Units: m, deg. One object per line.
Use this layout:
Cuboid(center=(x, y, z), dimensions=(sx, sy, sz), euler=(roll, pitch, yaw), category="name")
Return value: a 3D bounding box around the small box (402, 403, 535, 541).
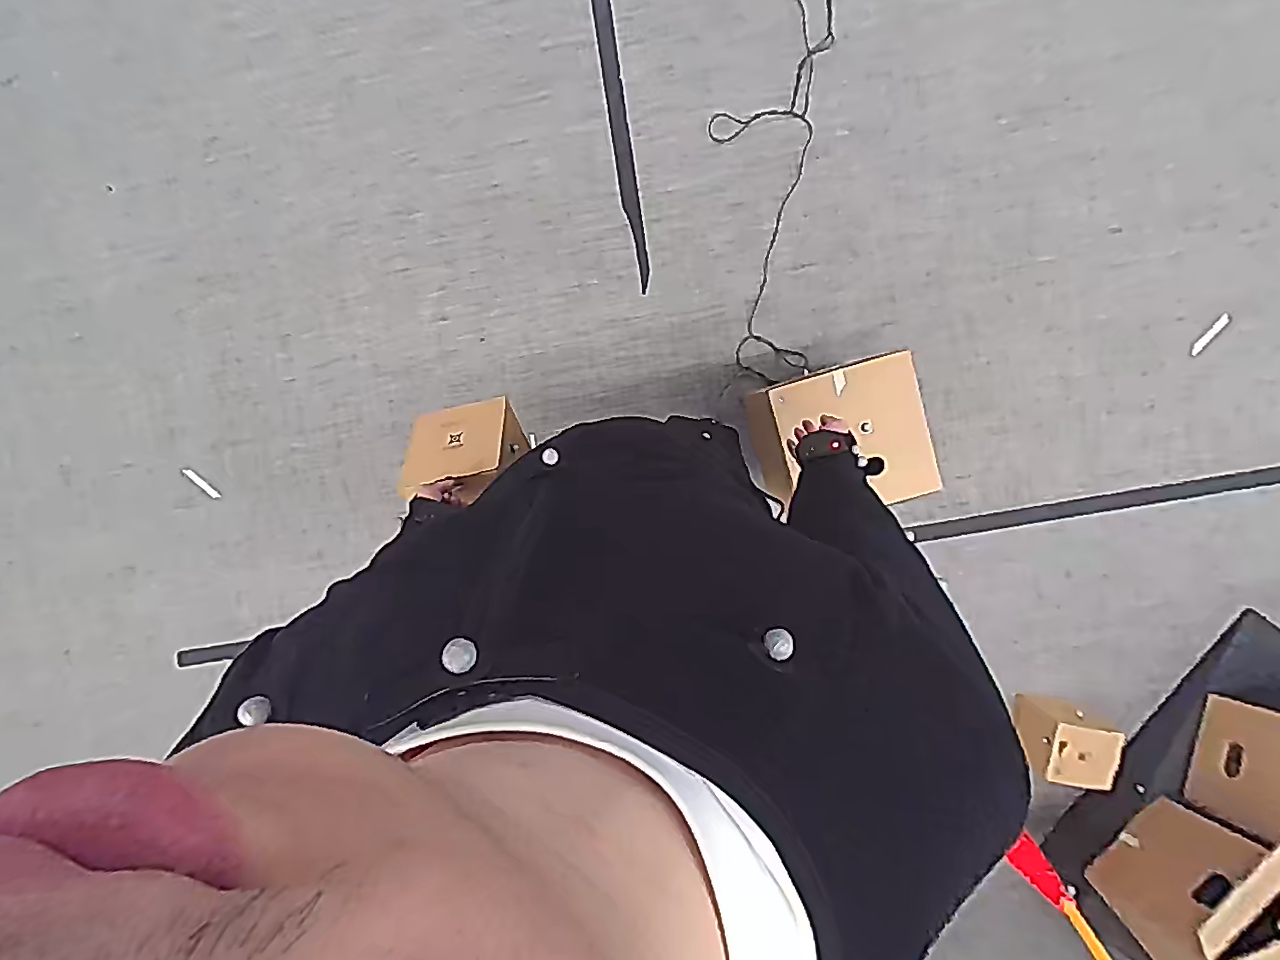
Cuboid(center=(-0.290, -0.006, 0.960), dimensions=(0.168, 0.179, 0.176), euler=(-10, 138, 3), category="small box")
